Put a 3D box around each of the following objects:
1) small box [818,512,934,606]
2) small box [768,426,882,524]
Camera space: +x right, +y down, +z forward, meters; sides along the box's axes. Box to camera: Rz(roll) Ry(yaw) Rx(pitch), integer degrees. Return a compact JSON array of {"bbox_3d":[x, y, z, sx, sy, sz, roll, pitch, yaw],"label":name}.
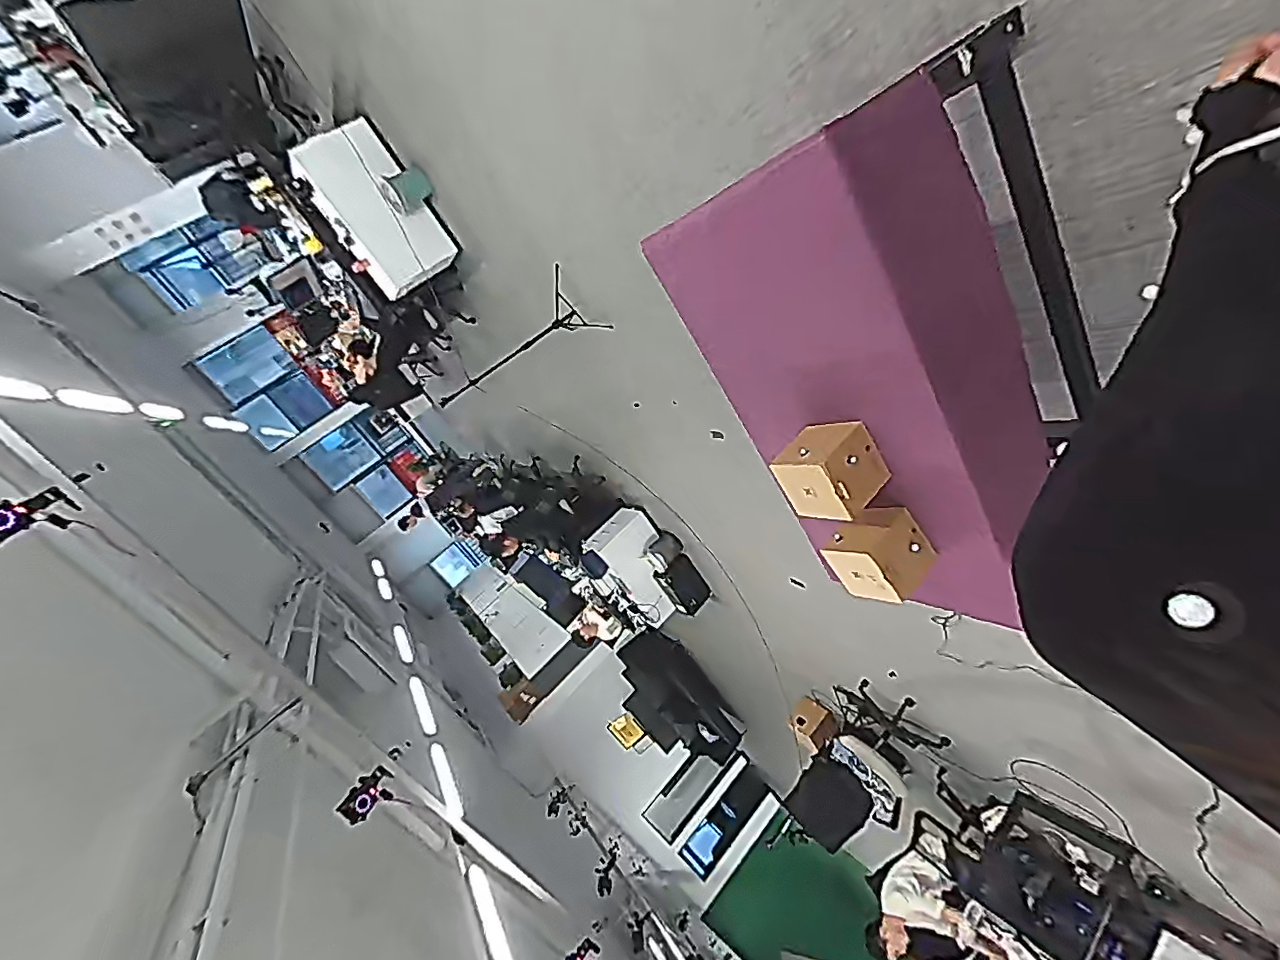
[{"bbox_3d":[0.603,0.194,1.381,0.168,0.176,0.179,52,159,-12],"label":"small box"},{"bbox_3d":[0.452,-0.017,1.302,0.168,0.176,0.179,55,159,-18],"label":"small box"}]
